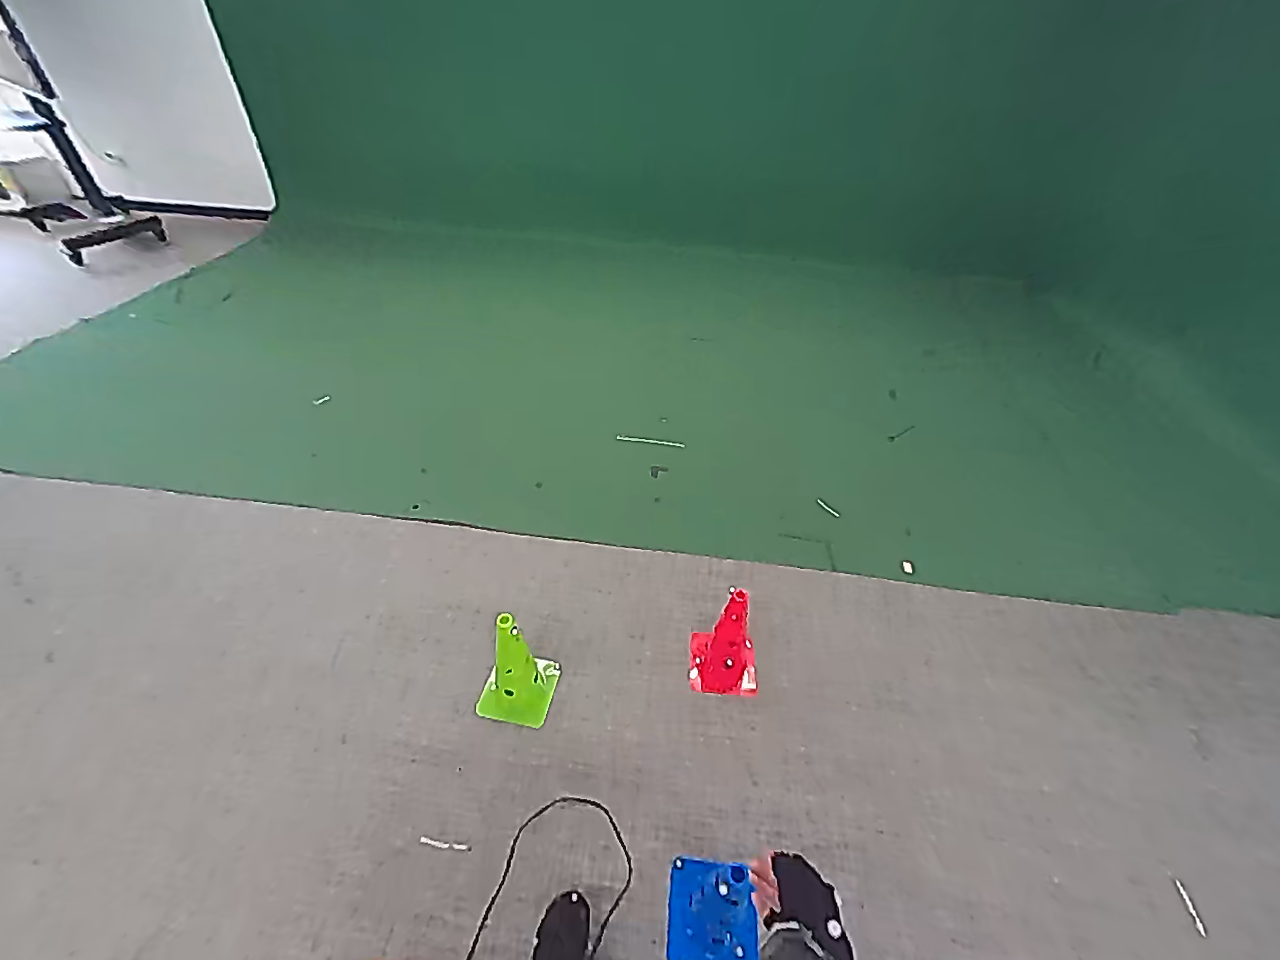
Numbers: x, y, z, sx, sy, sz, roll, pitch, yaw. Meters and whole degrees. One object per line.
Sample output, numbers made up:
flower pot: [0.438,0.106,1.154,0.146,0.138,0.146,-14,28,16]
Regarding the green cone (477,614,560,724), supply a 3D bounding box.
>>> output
green cone: [-0.346,0.474,1.460,0.200,0.368,0.202,8,43,6]
